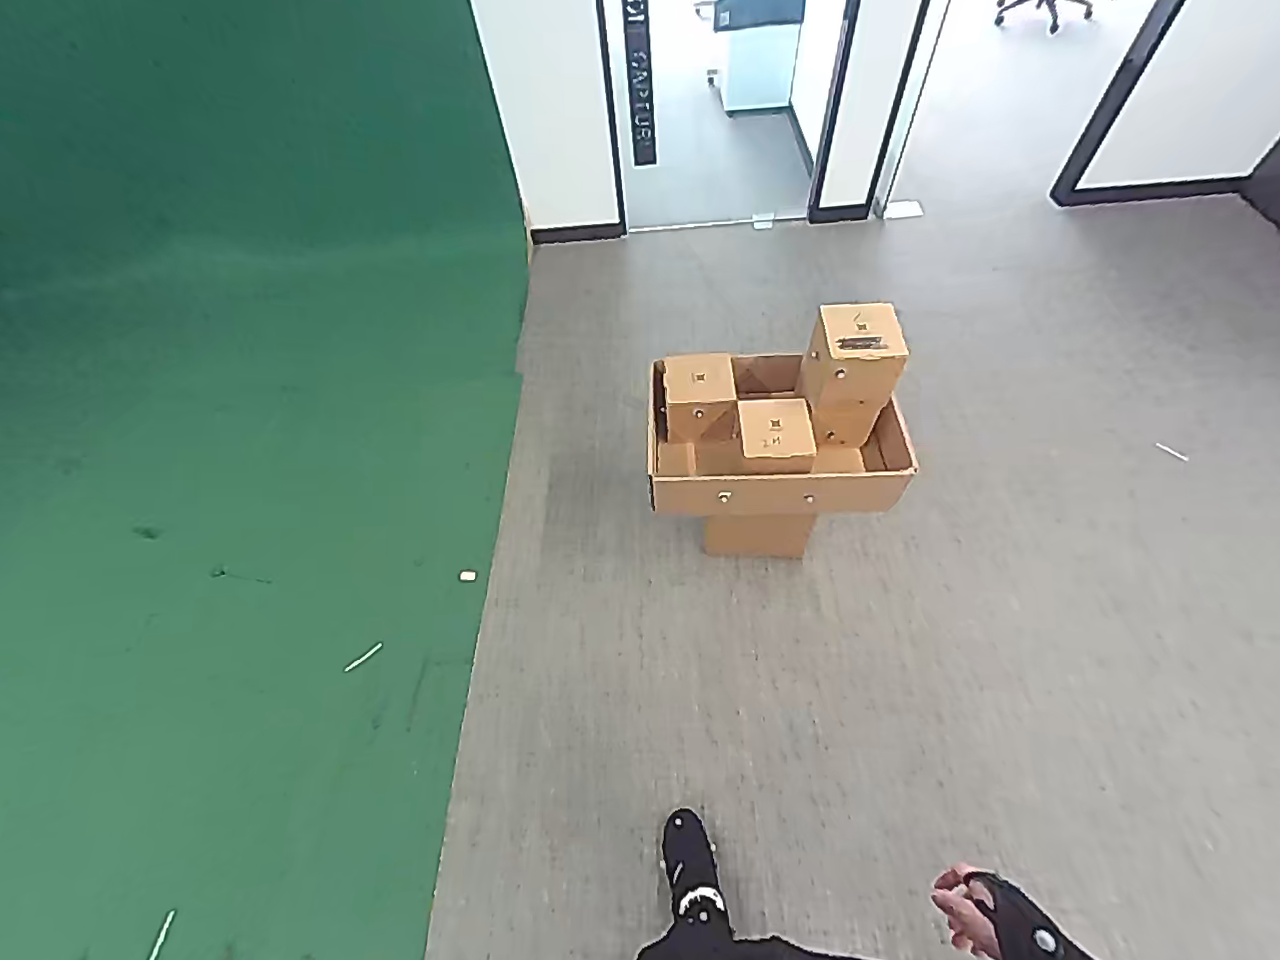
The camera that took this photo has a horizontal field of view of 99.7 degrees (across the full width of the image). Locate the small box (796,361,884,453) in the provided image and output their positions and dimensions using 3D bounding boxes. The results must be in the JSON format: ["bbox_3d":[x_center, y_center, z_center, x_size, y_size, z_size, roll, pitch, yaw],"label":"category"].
[{"bbox_3d":[0.511,-0.189,1.408,0.168,0.176,0.179,-1,56,4],"label":"small box"}]
